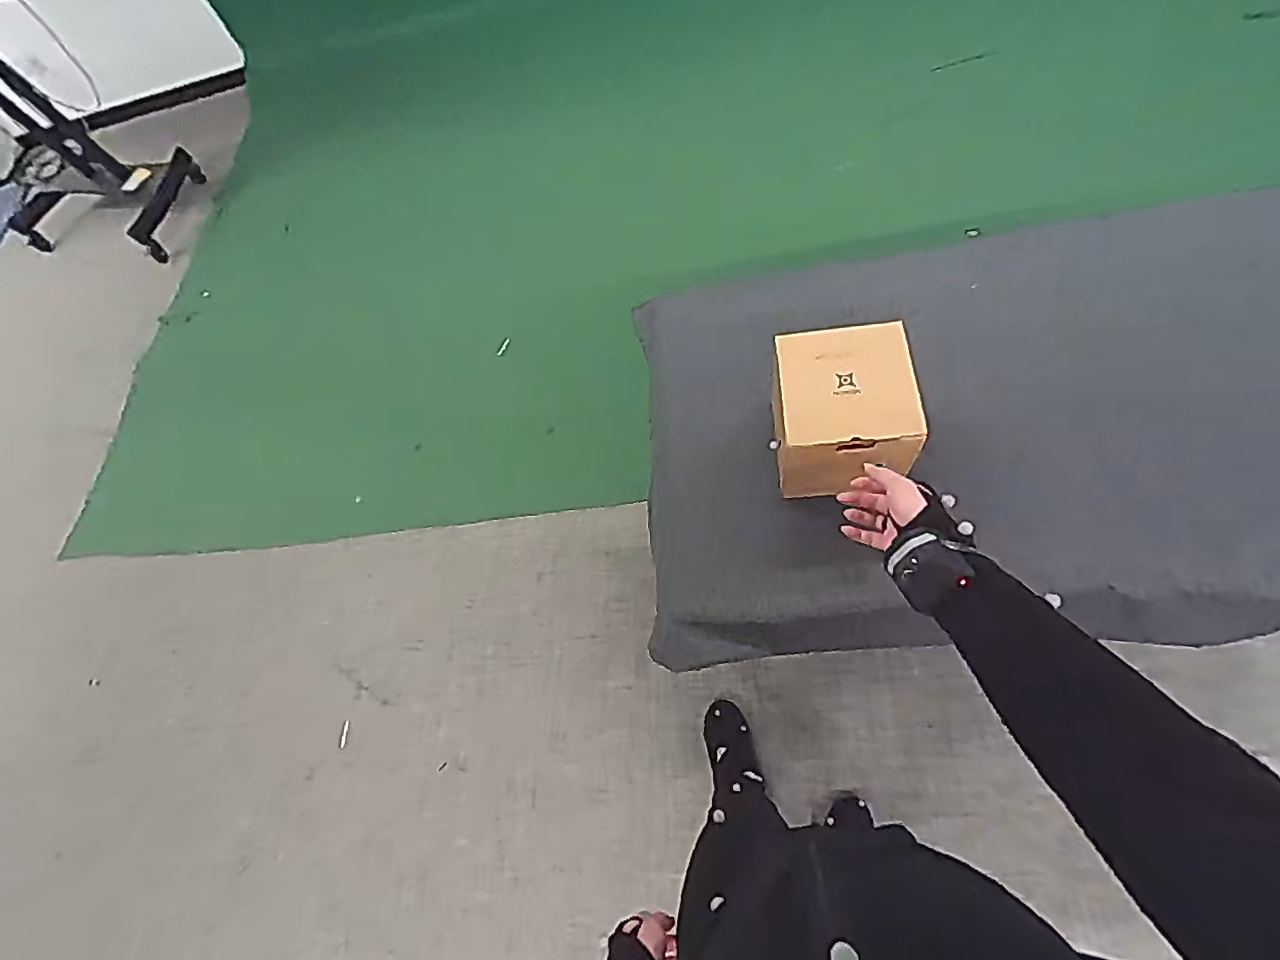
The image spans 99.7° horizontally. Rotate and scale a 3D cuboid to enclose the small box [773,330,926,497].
[{"bbox_3d":[0.281,-0.083,0.769,0.168,0.176,0.179,-4,64,9],"label":"small box"}]
